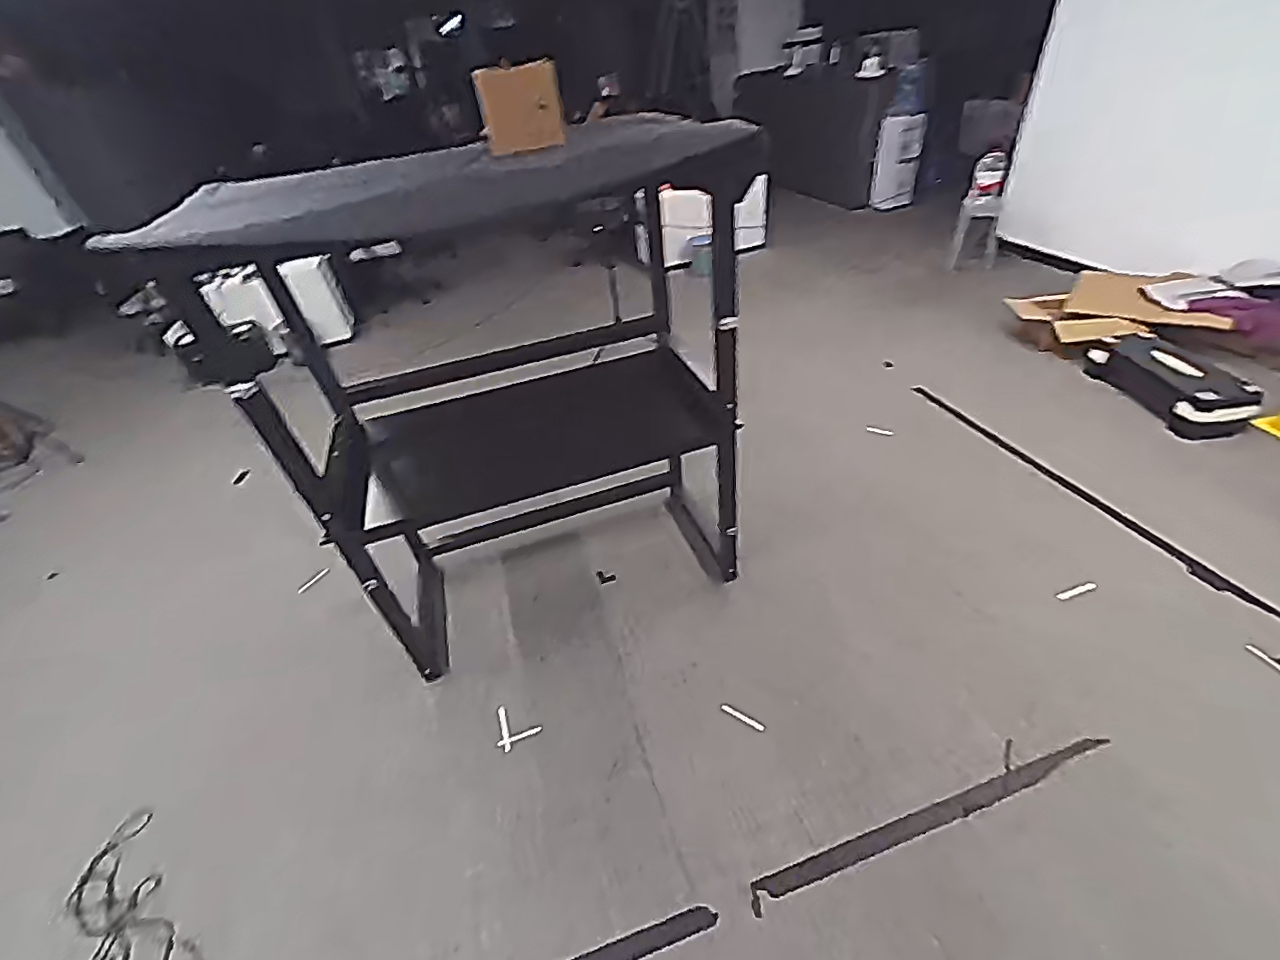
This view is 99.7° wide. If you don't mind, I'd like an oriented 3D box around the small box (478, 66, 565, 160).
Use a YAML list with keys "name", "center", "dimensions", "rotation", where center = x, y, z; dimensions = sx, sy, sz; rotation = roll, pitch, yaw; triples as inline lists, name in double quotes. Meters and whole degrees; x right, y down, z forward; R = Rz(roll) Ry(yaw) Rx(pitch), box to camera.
- name: "small box"
  center: [-0.290, -0.910, 1.339]
  dimensions: [0.179, 0.176, 0.168]
  rotation: [-15, 39, -9]
